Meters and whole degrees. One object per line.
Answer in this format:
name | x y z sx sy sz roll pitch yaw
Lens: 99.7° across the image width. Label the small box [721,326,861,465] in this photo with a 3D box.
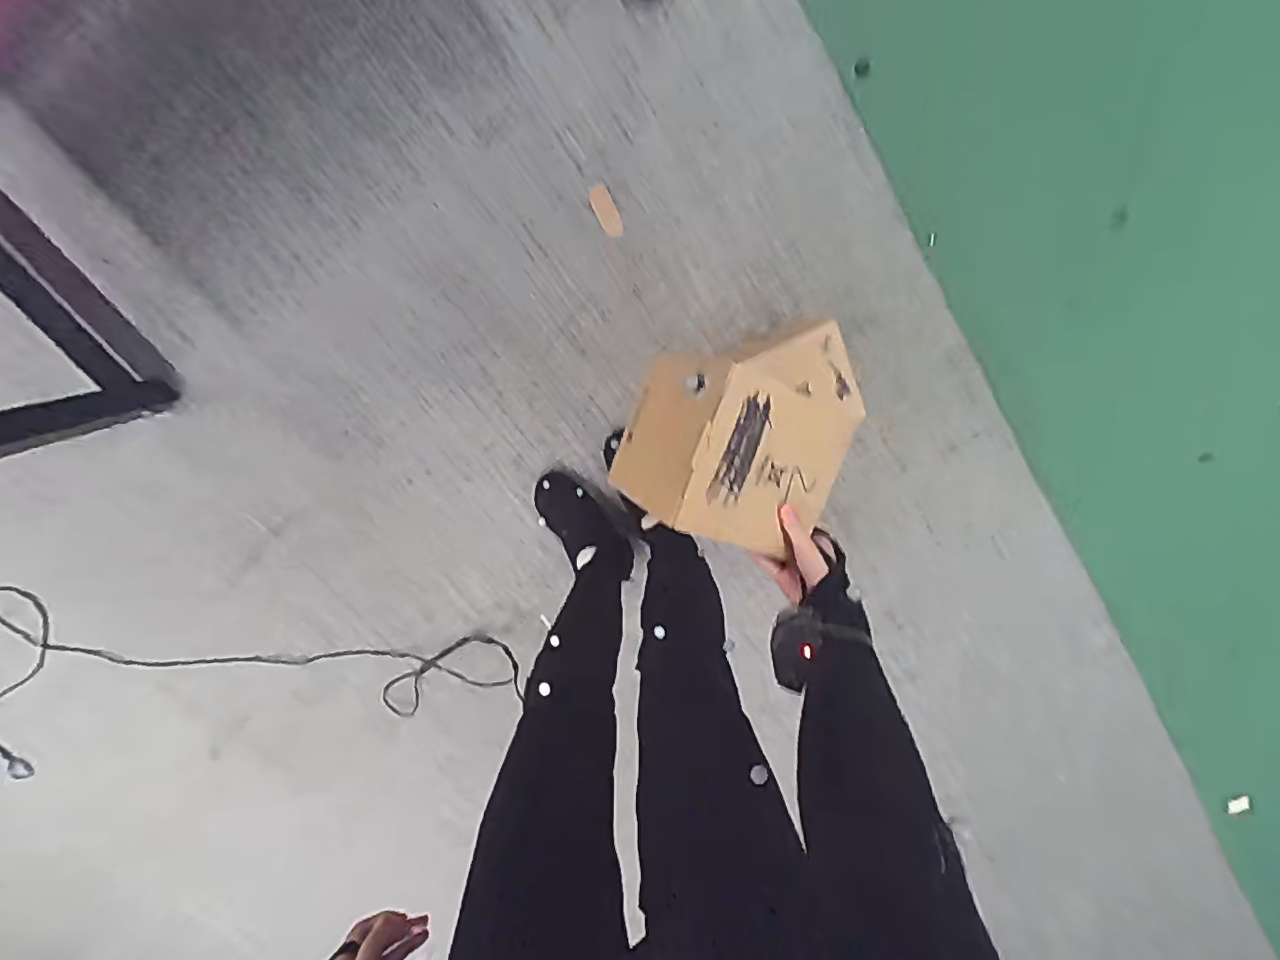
small box | 0.245 -0.149 0.921 0.179 0.176 0.168 -22 108 10
